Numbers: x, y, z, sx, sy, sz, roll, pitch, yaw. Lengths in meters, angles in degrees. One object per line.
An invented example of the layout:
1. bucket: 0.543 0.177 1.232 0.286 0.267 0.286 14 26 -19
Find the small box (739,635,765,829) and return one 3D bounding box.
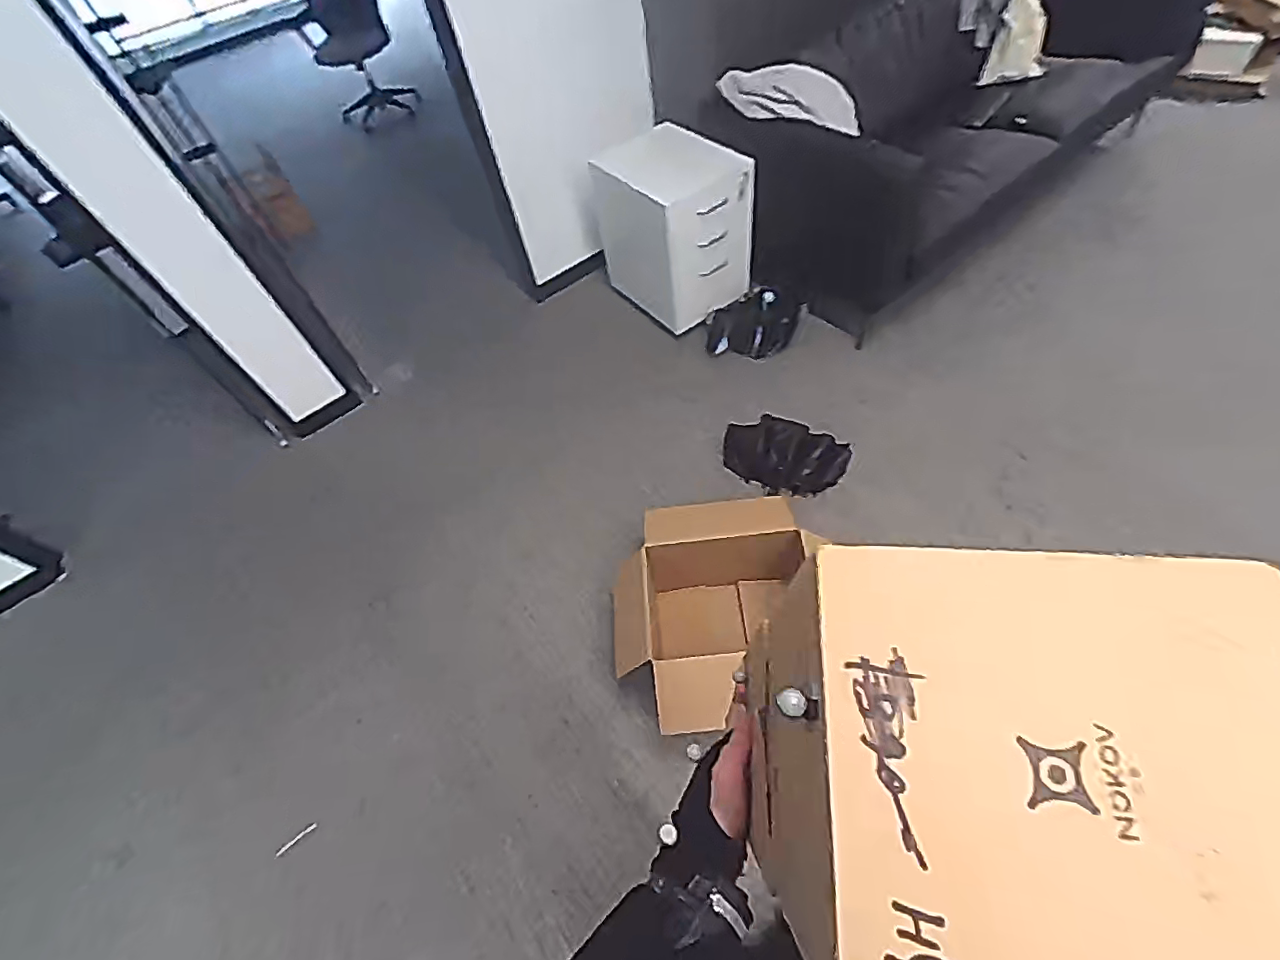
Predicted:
1. small box: 0.195 0.260 0.558 0.179 0.176 0.168 1 66 9

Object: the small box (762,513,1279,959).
1. small box: 0.159 0.126 0.260 0.179 0.176 0.168 3 65 6
